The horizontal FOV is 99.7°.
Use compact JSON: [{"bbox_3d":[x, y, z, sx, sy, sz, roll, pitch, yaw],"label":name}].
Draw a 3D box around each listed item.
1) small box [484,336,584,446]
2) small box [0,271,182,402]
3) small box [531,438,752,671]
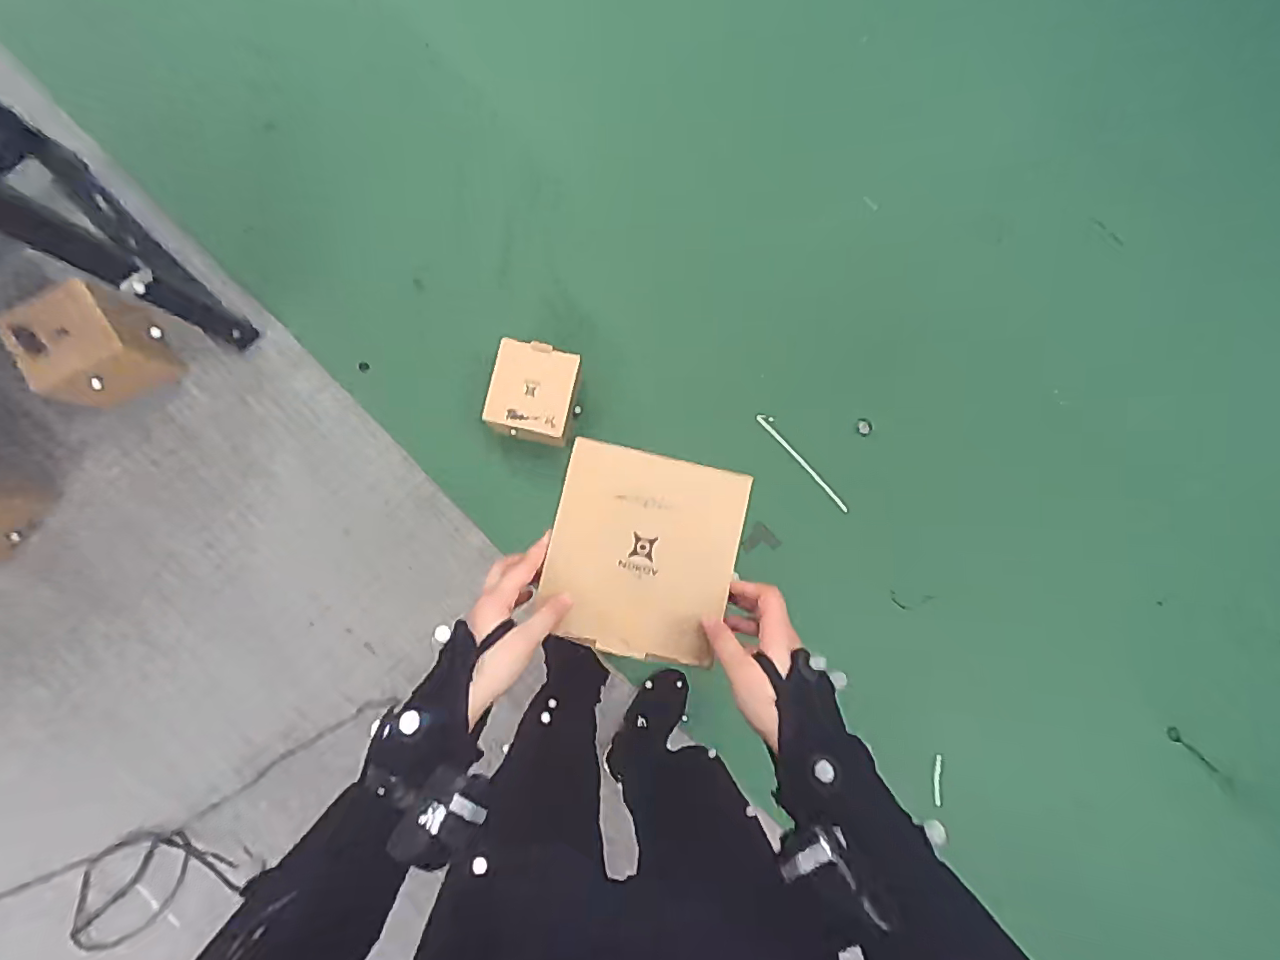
[{"bbox_3d":[-0.222,-0.183,1.165,0.168,0.176,0.179,14,85,-4],"label":"small box"},{"bbox_3d":[-1.091,-0.276,1.083,0.179,0.176,0.168,-32,91,-8],"label":"small box"},{"bbox_3d":[0.001,0.071,0.555,0.168,0.176,0.179,13,85,-1],"label":"small box"}]
